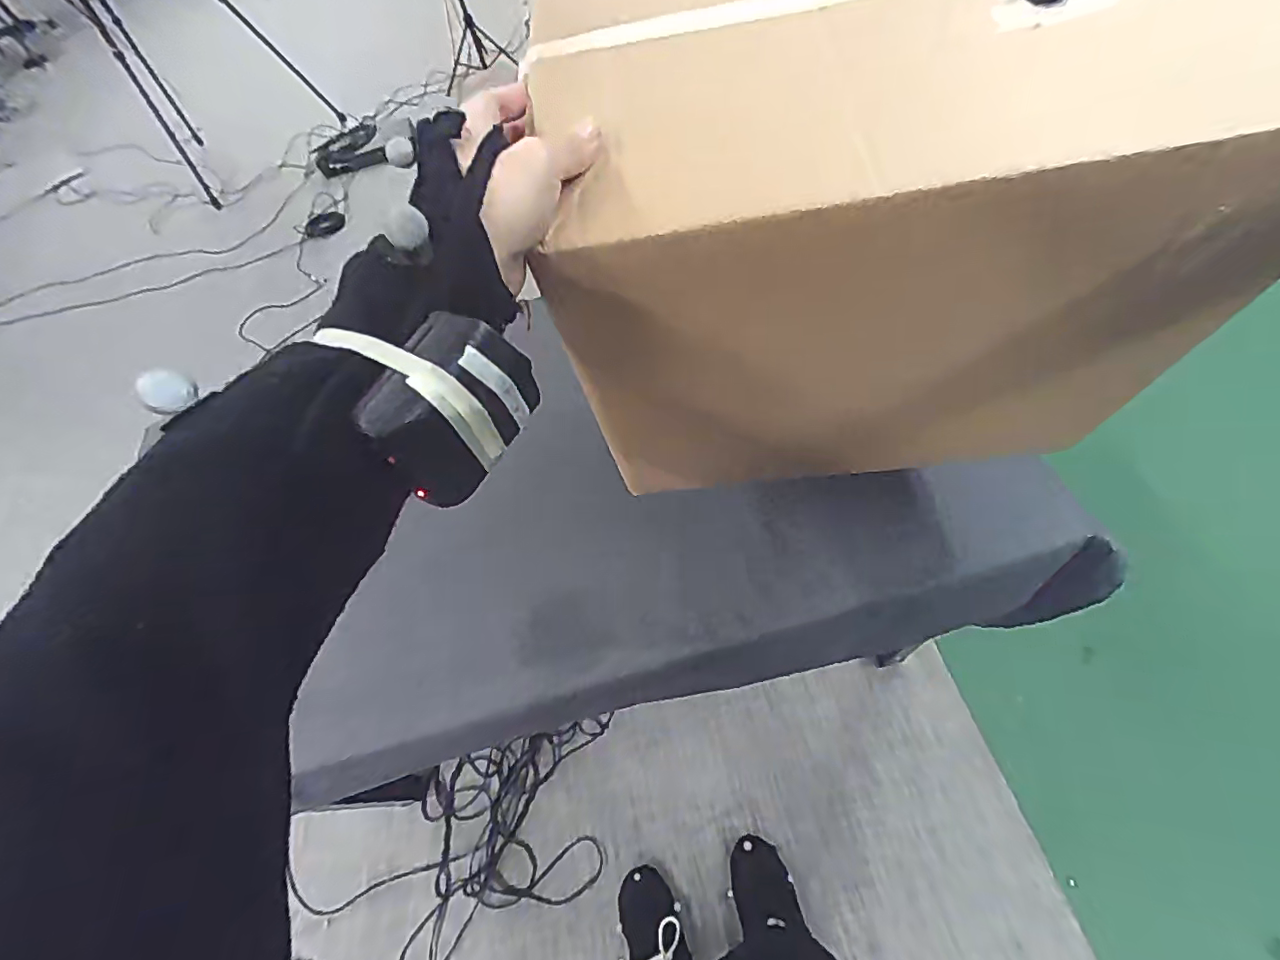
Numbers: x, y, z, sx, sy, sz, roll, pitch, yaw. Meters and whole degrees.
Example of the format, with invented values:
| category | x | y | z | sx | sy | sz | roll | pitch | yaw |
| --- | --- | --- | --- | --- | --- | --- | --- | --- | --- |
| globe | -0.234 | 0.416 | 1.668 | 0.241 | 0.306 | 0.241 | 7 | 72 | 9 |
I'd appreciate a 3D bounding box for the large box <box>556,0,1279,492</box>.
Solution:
| category | x | y | z | sx | sy | sz | roll | pitch | yaw |
| --- | --- | --- | --- | --- | --- | --- | --- | --- | --- |
| large box | 0.163 | -0.206 | 0.444 | 0.408 | 0.320 | 0.320 | -6 | 66 | 6 |
